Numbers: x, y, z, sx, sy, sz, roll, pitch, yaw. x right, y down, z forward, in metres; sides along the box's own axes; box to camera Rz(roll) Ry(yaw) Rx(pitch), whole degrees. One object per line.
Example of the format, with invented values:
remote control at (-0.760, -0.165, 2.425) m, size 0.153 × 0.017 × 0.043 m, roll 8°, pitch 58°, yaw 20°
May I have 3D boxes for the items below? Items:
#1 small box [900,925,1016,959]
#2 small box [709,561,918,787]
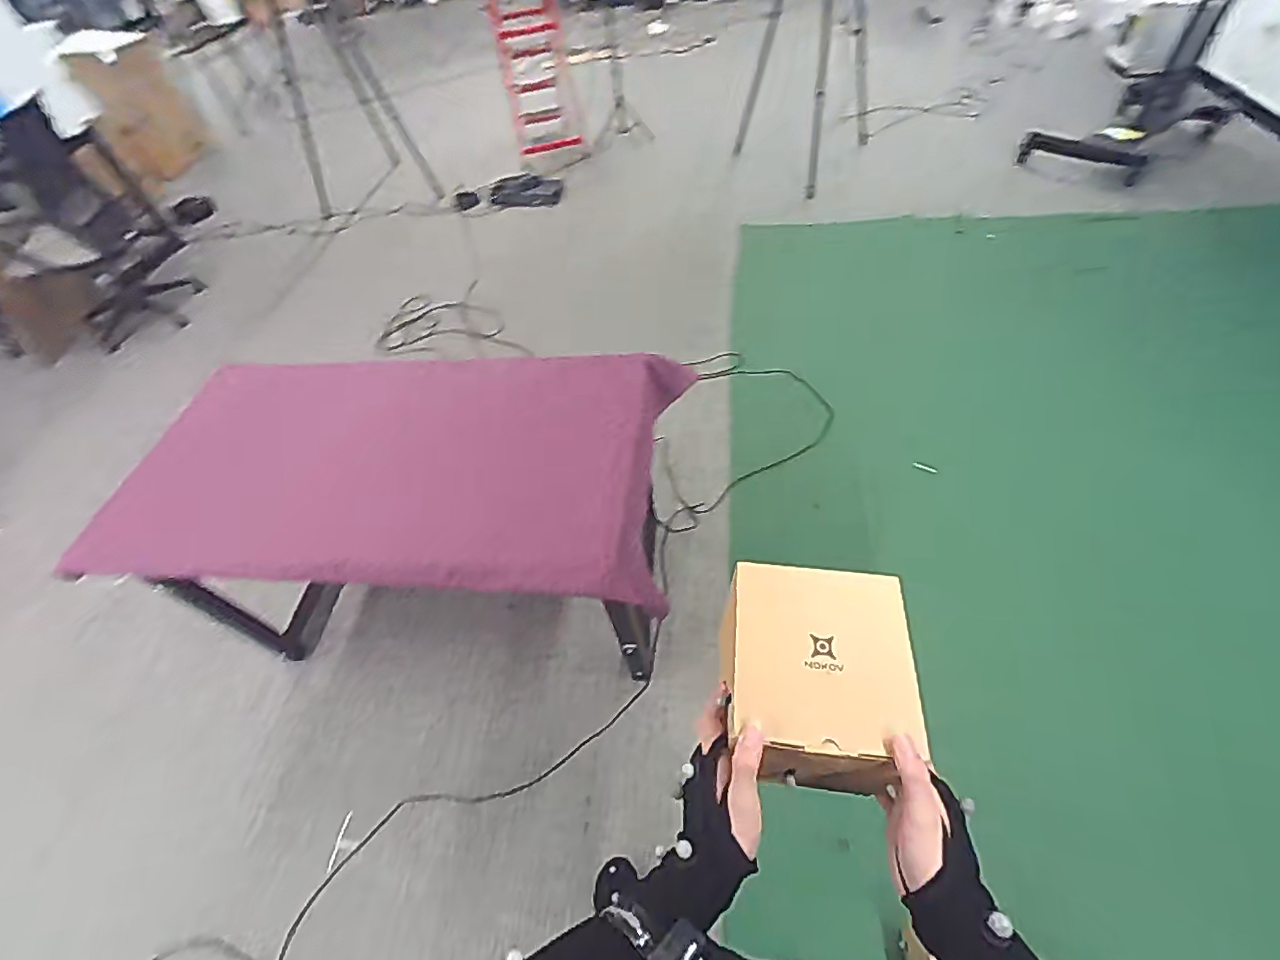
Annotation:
small box at (0.635, 1.000, 1.075) m, size 0.179 × 0.176 × 0.168 m, roll 1°, pitch 52°, yaw 7°
small box at (0.163, 0.207, 0.572) m, size 0.168 × 0.176 × 0.179 m, roll 4°, pitch 54°, yaw 4°
